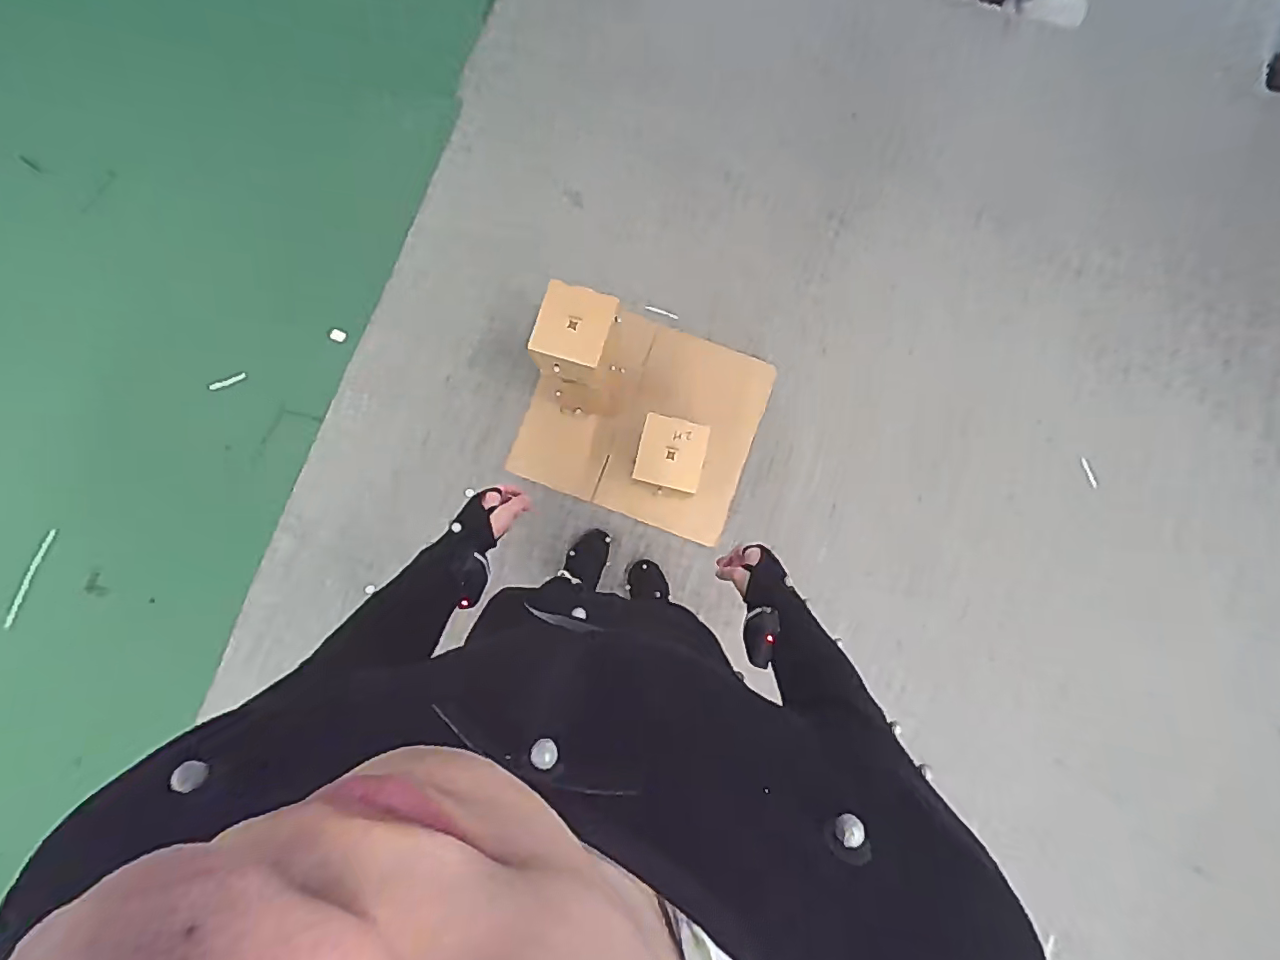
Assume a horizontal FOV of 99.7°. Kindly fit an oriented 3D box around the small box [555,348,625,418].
[{"bbox_3d":[-0.142,-0.302,1.606,0.168,0.176,0.179,13,84,2],"label":"small box"}]

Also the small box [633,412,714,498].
[{"bbox_3d":[0.084,-0.058,1.404,0.168,0.176,0.179,14,84,1],"label":"small box"}]

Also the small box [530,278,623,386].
[{"bbox_3d":[-0.141,-0.341,1.283,0.168,0.176,0.179,17,83,3],"label":"small box"}]

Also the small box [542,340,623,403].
[{"bbox_3d":[-0.145,-0.321,1.445,0.168,0.176,0.179,17,83,3],"label":"small box"}]
